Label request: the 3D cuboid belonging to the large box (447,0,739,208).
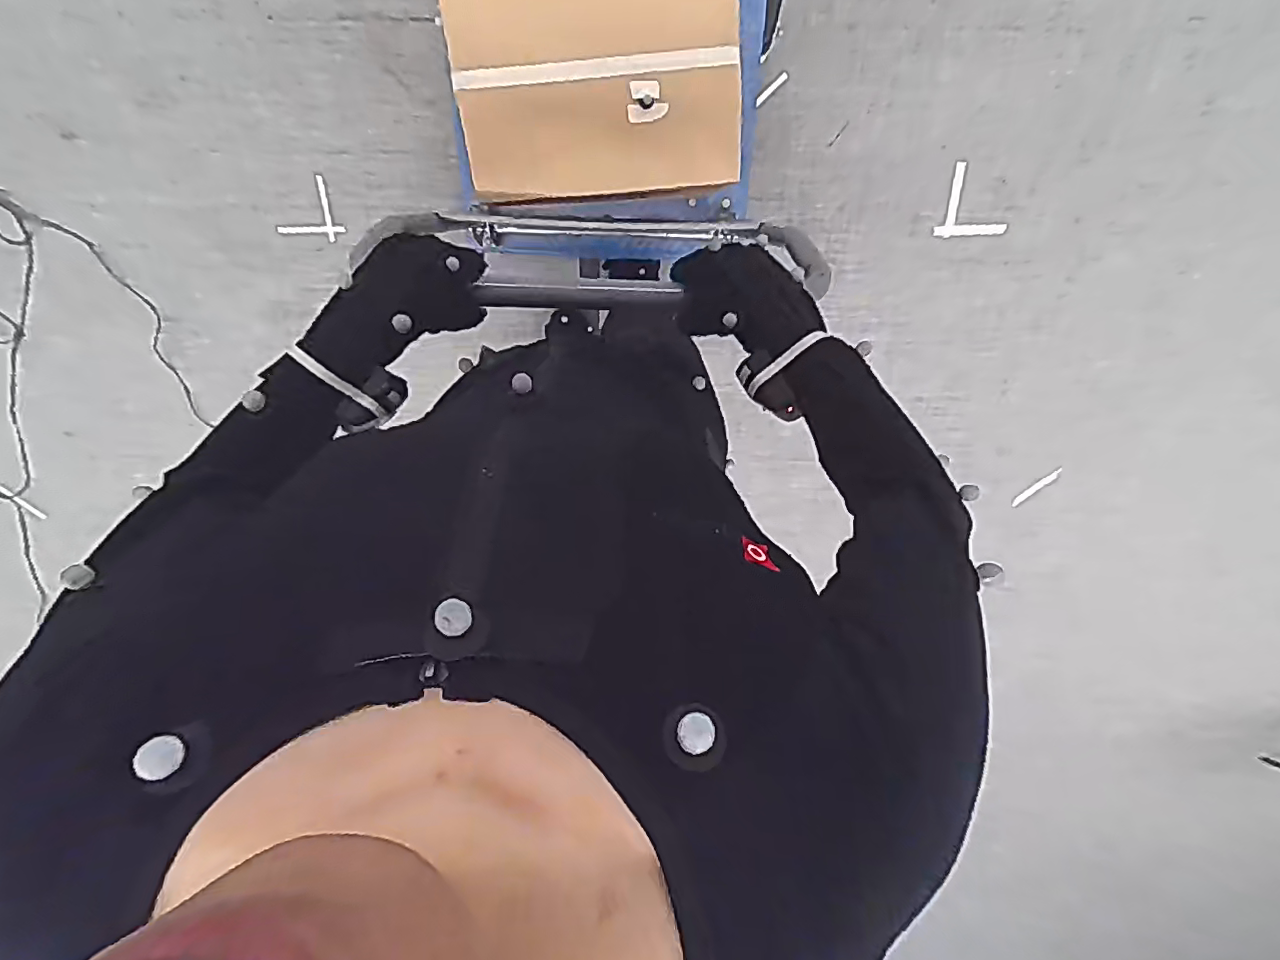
[{"bbox_3d":[-0.067,-0.656,0.908,0.408,0.320,0.320,-6,115,-1],"label":"large box"}]
